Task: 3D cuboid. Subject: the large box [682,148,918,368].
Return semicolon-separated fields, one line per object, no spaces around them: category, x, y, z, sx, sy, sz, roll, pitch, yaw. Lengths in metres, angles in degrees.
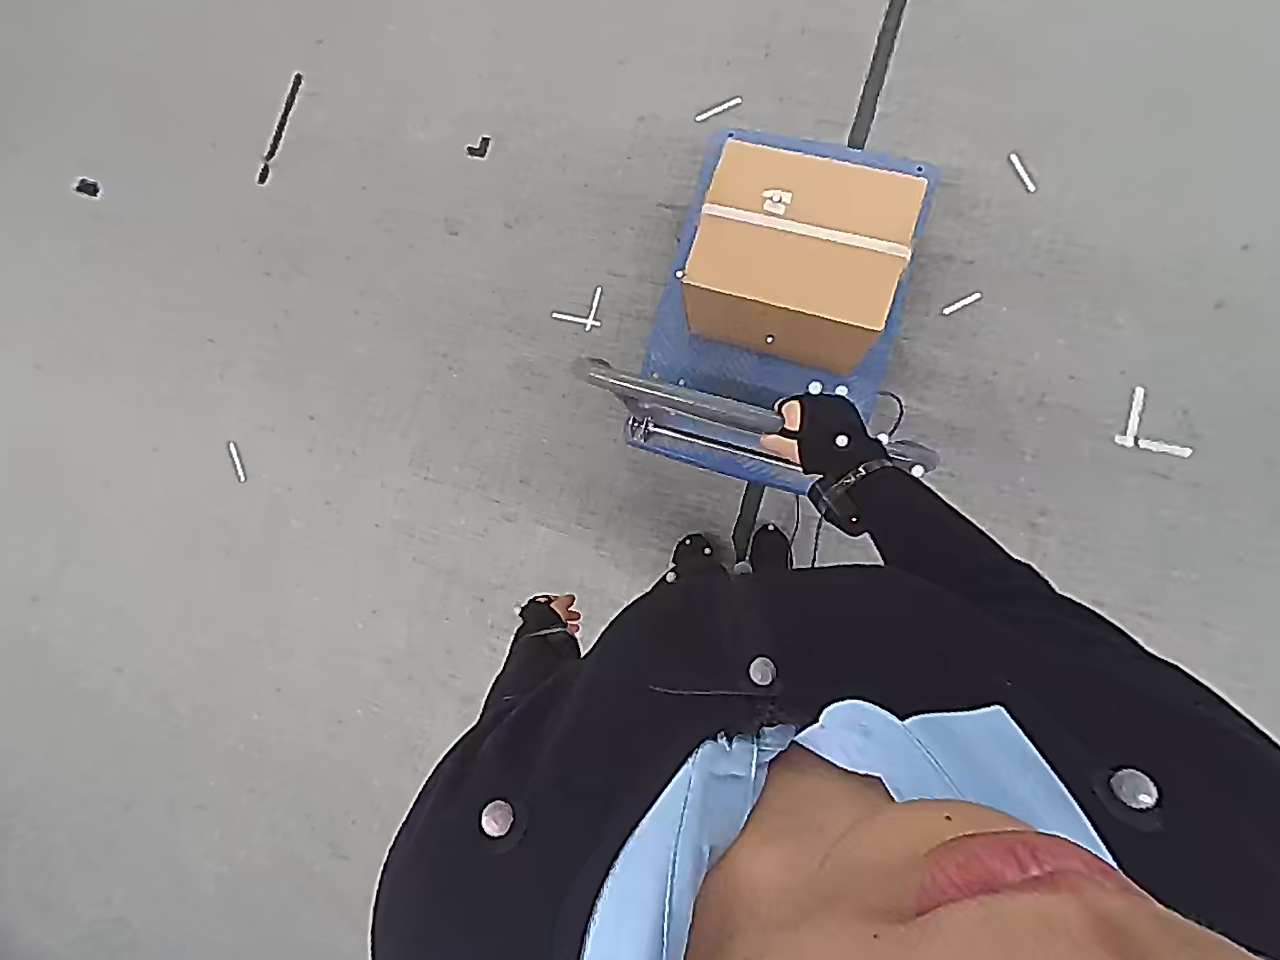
large box;0.340;-0.479;1.224;0.408;0.320;0.320;17;87;11
